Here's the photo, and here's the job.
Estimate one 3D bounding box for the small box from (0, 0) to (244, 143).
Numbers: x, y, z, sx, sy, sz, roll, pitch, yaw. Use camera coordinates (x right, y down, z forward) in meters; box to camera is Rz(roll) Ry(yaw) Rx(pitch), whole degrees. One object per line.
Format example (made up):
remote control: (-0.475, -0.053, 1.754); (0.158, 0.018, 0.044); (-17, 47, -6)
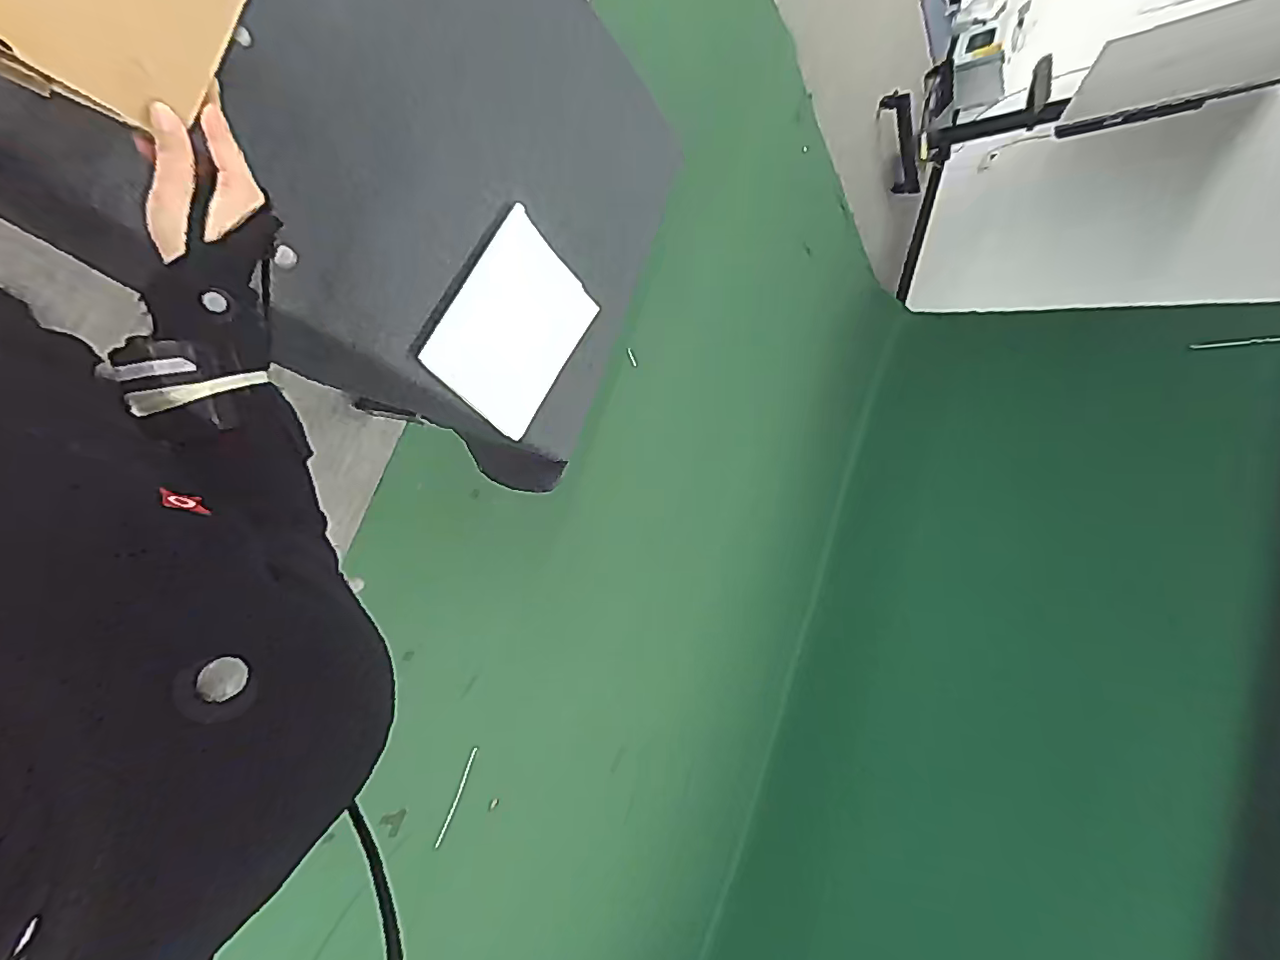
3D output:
small box: (-0.343, -0.352, 0.318); (0.179, 0.176, 0.168); (-51, 145, 15)
